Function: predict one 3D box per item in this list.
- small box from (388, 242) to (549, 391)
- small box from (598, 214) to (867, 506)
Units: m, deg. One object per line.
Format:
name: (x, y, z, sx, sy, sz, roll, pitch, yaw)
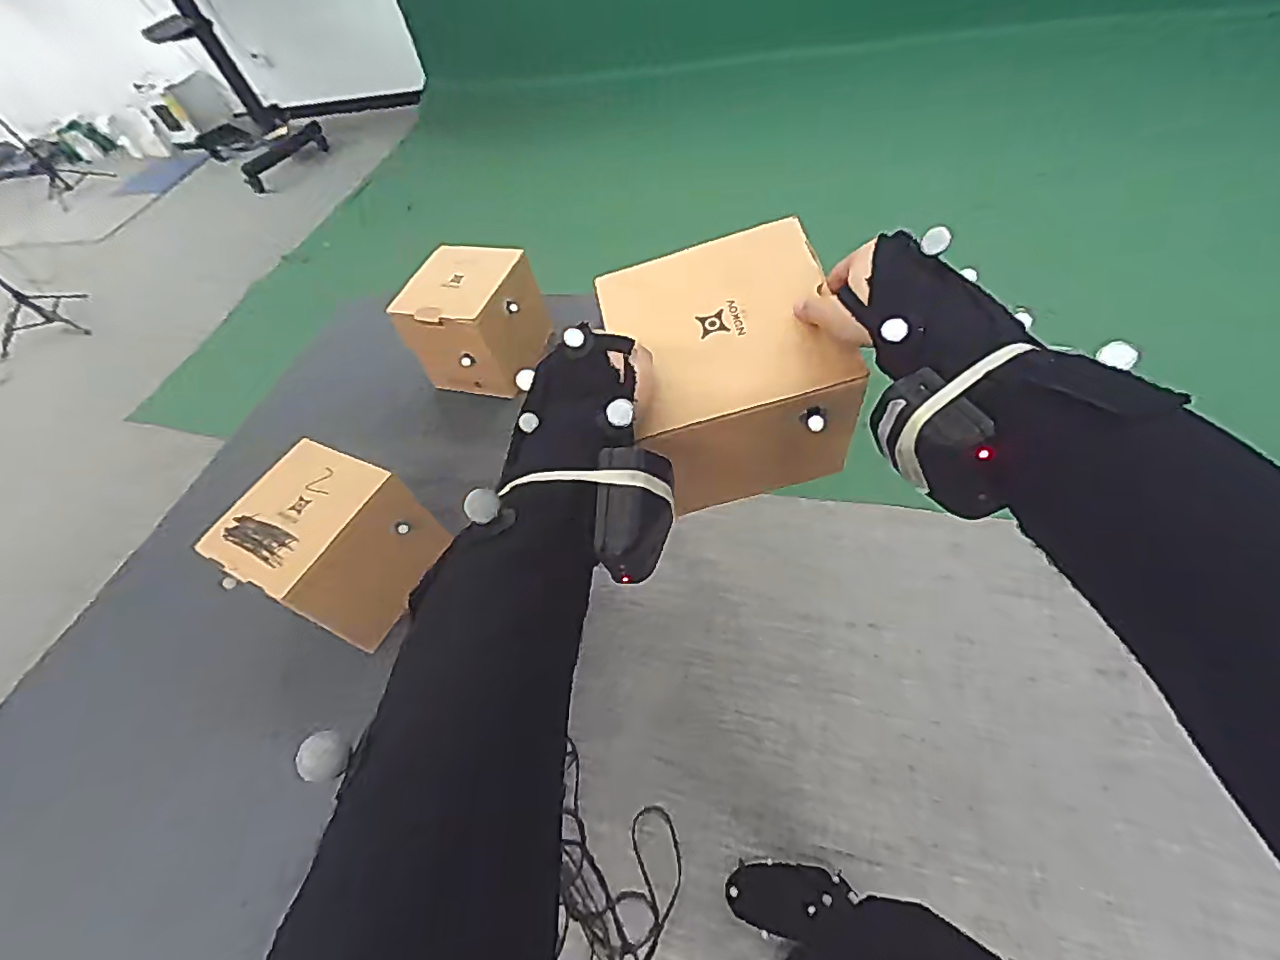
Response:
small box: (-0.273, -0.272, 0.908, 0.168, 0.176, 0.179, 11, 58, 18)
small box: (0.078, -0.092, 0.485, 0.179, 0.176, 0.168, -15, 65, 6)
